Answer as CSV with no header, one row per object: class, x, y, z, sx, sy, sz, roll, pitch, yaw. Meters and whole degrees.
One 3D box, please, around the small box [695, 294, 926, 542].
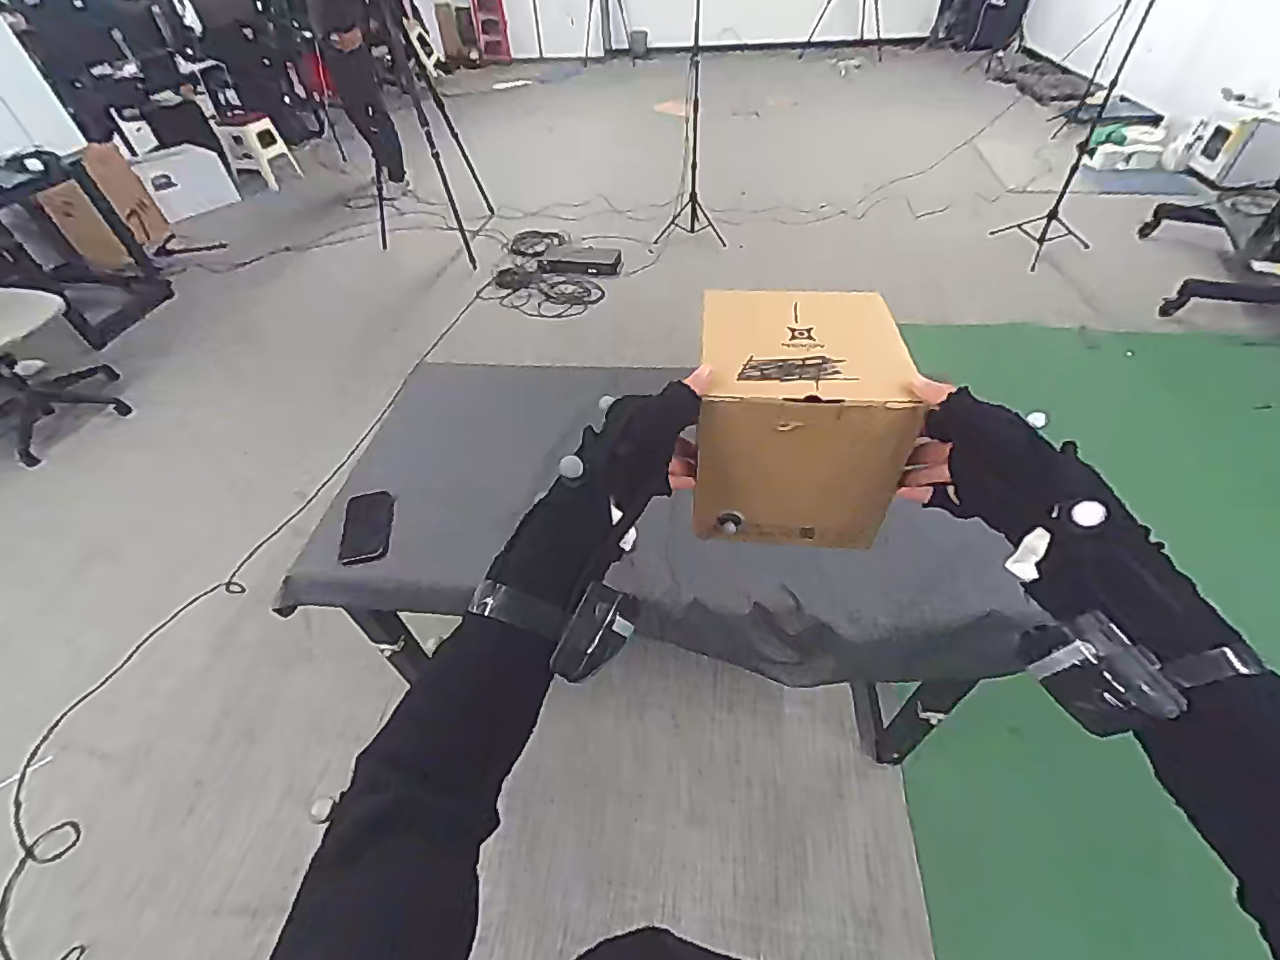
small box,0.140,-0.059,0.512,0.168,0.176,0.179,3,44,6
